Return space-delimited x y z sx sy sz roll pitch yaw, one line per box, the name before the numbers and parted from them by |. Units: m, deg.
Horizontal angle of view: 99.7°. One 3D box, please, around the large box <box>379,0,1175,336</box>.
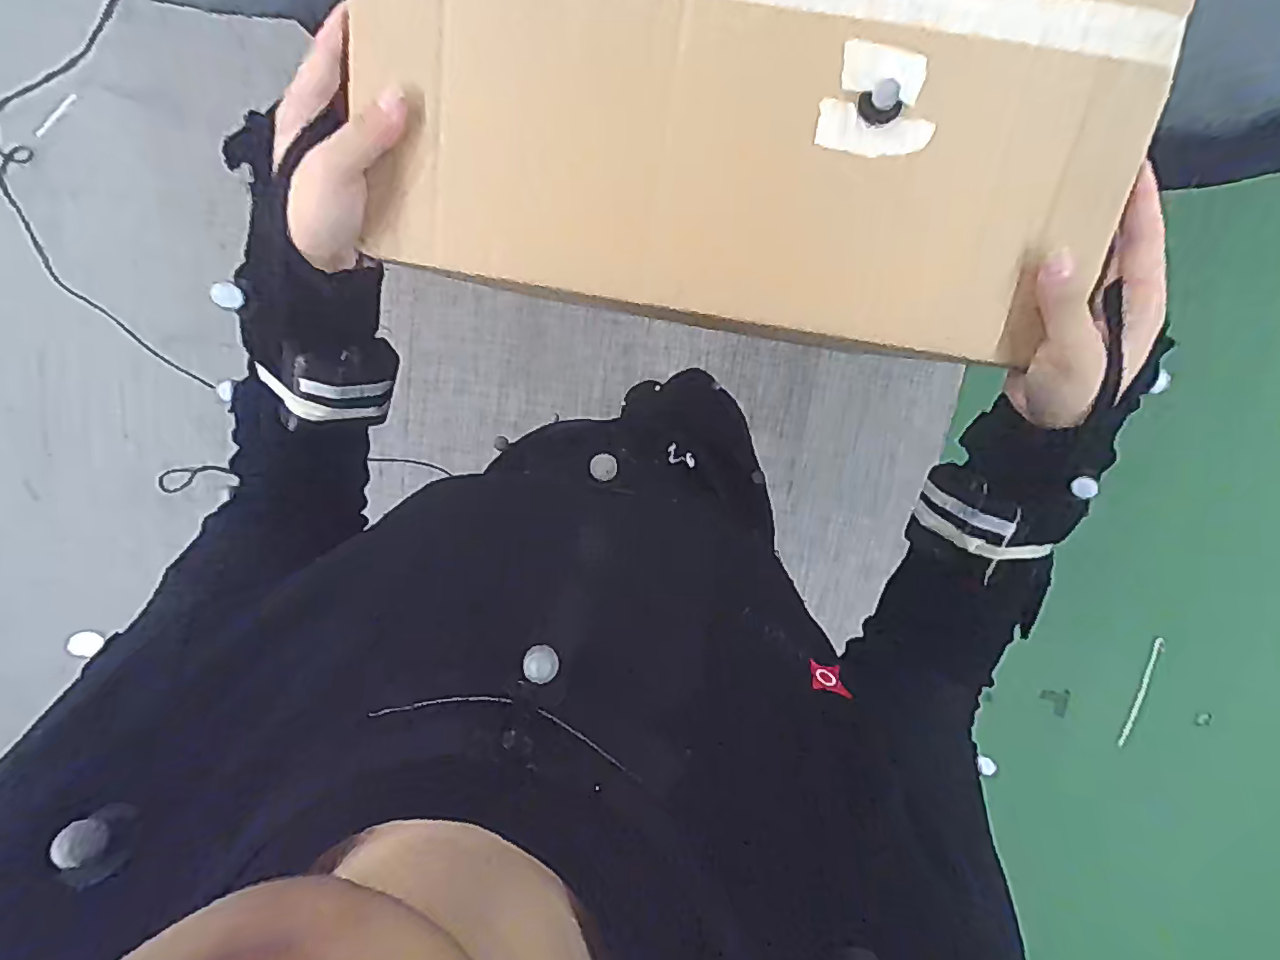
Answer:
large box | 0.071 -0.296 0.415 0.408 0.320 0.320 9 106 -1
